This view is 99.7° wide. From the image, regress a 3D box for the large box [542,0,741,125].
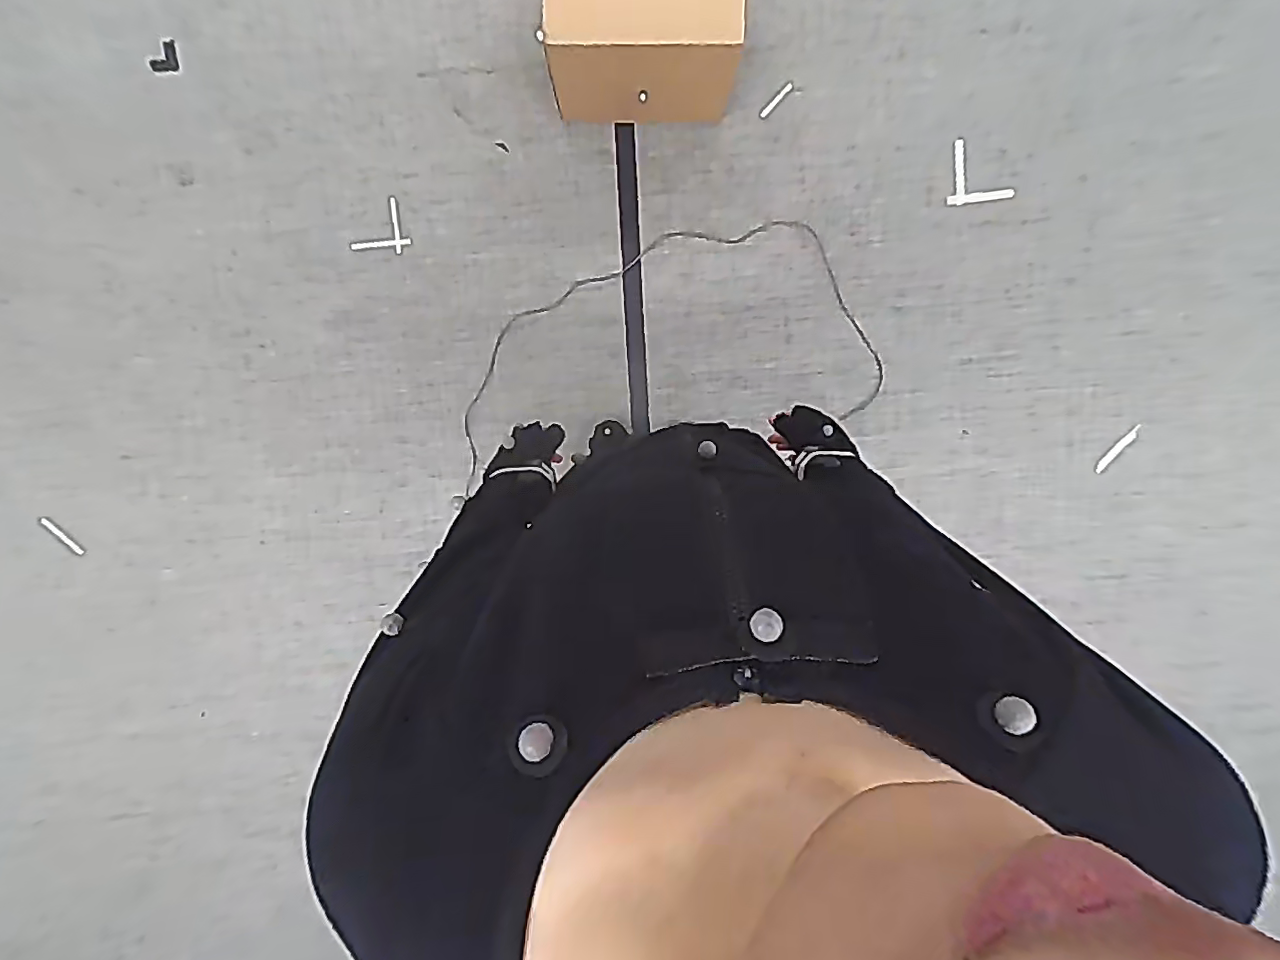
[{"bbox_3d":[0.002,-1.040,1.214,0.408,0.320,0.320,-1,97,0],"label":"large box"}]
